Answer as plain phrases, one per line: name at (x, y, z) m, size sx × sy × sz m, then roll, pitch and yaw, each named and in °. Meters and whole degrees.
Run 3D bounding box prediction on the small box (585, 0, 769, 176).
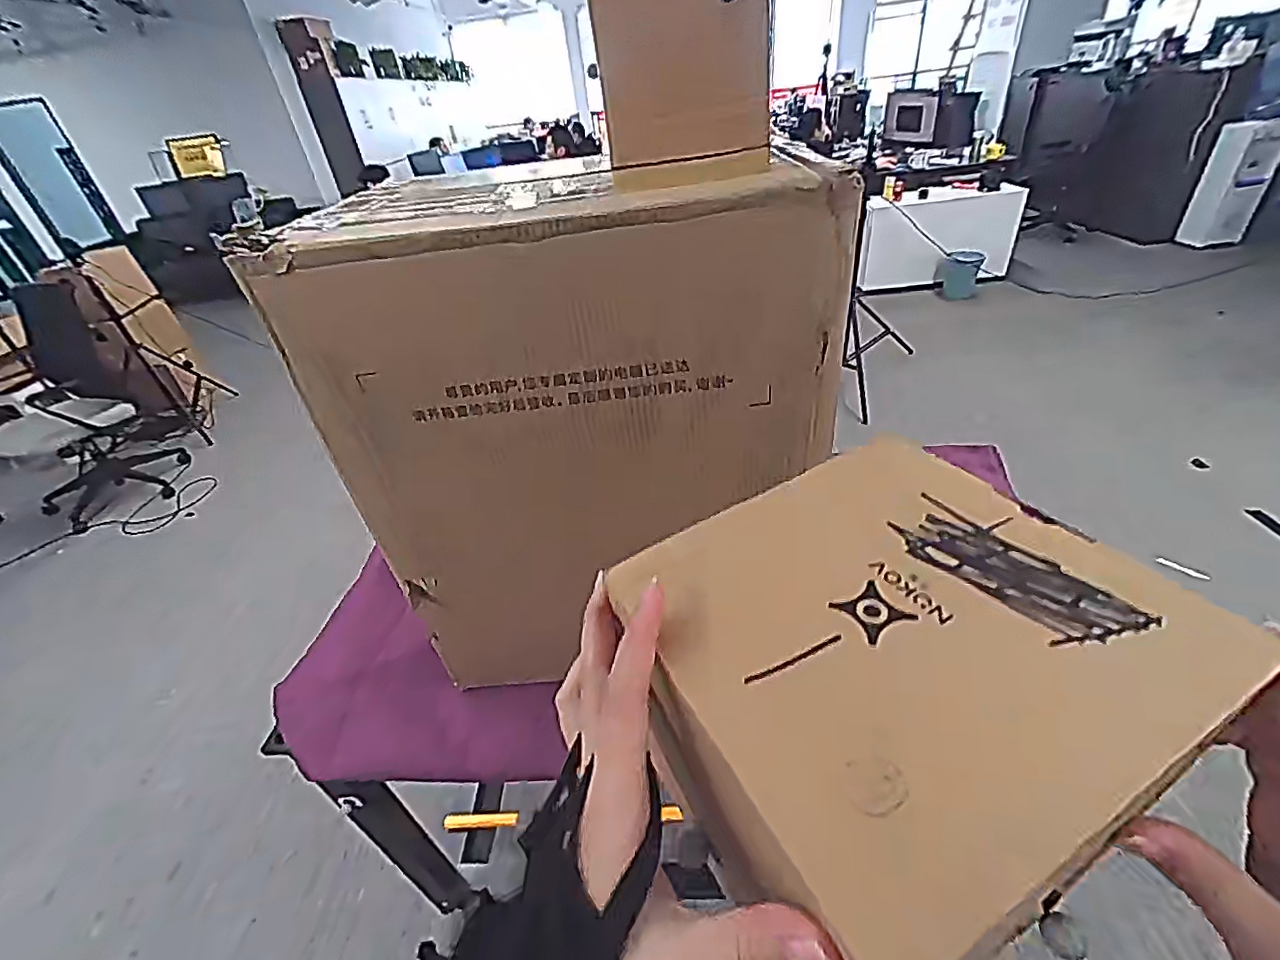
small box at (0.043, -0.447, 0.601) m, size 0.179 × 0.176 × 0.168 m, roll -6°, pitch 35°, yaw 4°
